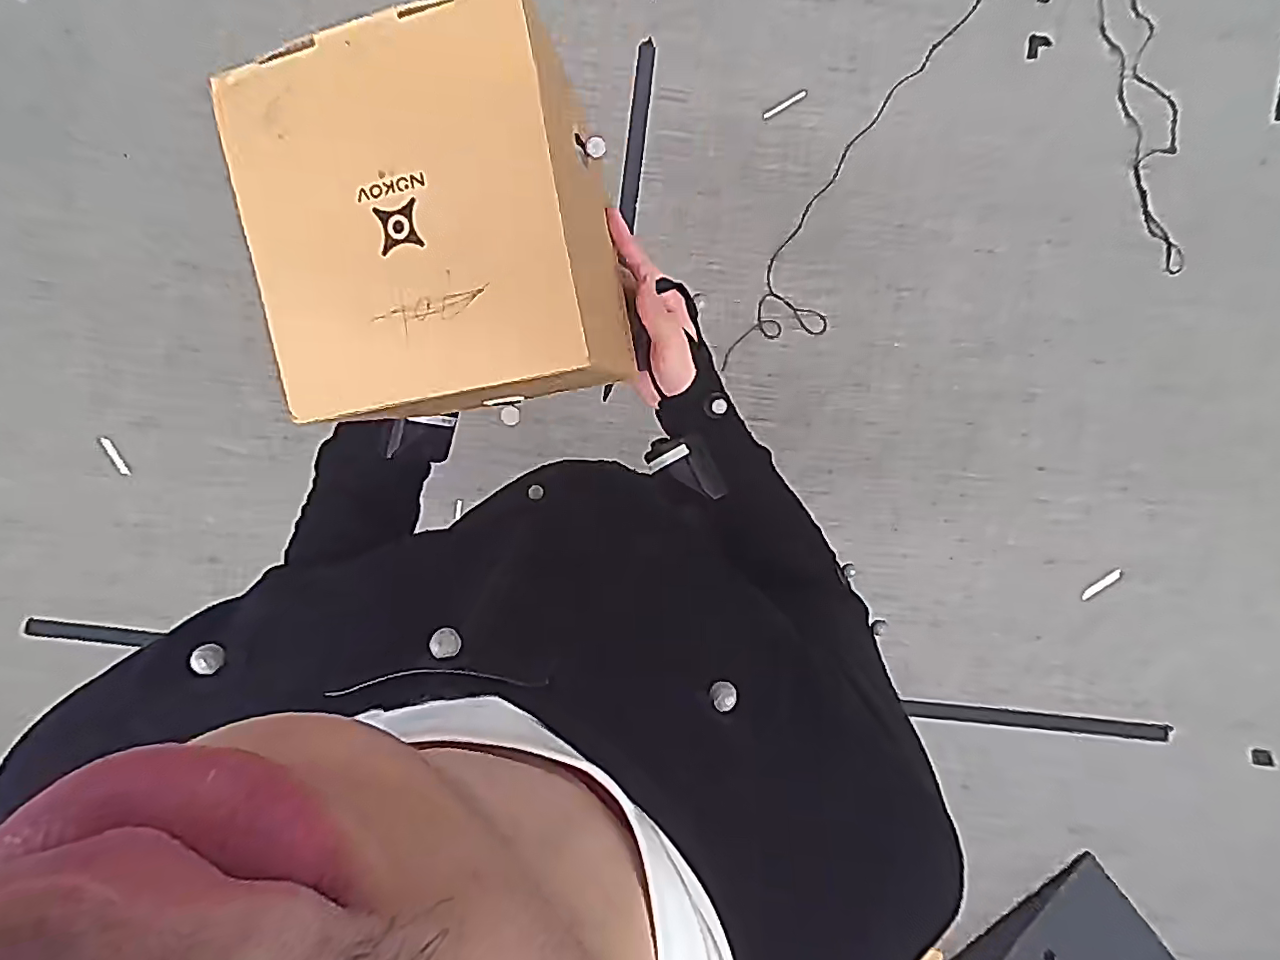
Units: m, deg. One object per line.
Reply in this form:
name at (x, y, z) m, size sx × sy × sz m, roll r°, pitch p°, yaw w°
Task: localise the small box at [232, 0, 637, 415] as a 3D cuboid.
small box at (-0.104, -0.142, 0.352) m, size 0.168 × 0.176 × 0.179 m, roll -9°, pitch 98°, yaw 10°
